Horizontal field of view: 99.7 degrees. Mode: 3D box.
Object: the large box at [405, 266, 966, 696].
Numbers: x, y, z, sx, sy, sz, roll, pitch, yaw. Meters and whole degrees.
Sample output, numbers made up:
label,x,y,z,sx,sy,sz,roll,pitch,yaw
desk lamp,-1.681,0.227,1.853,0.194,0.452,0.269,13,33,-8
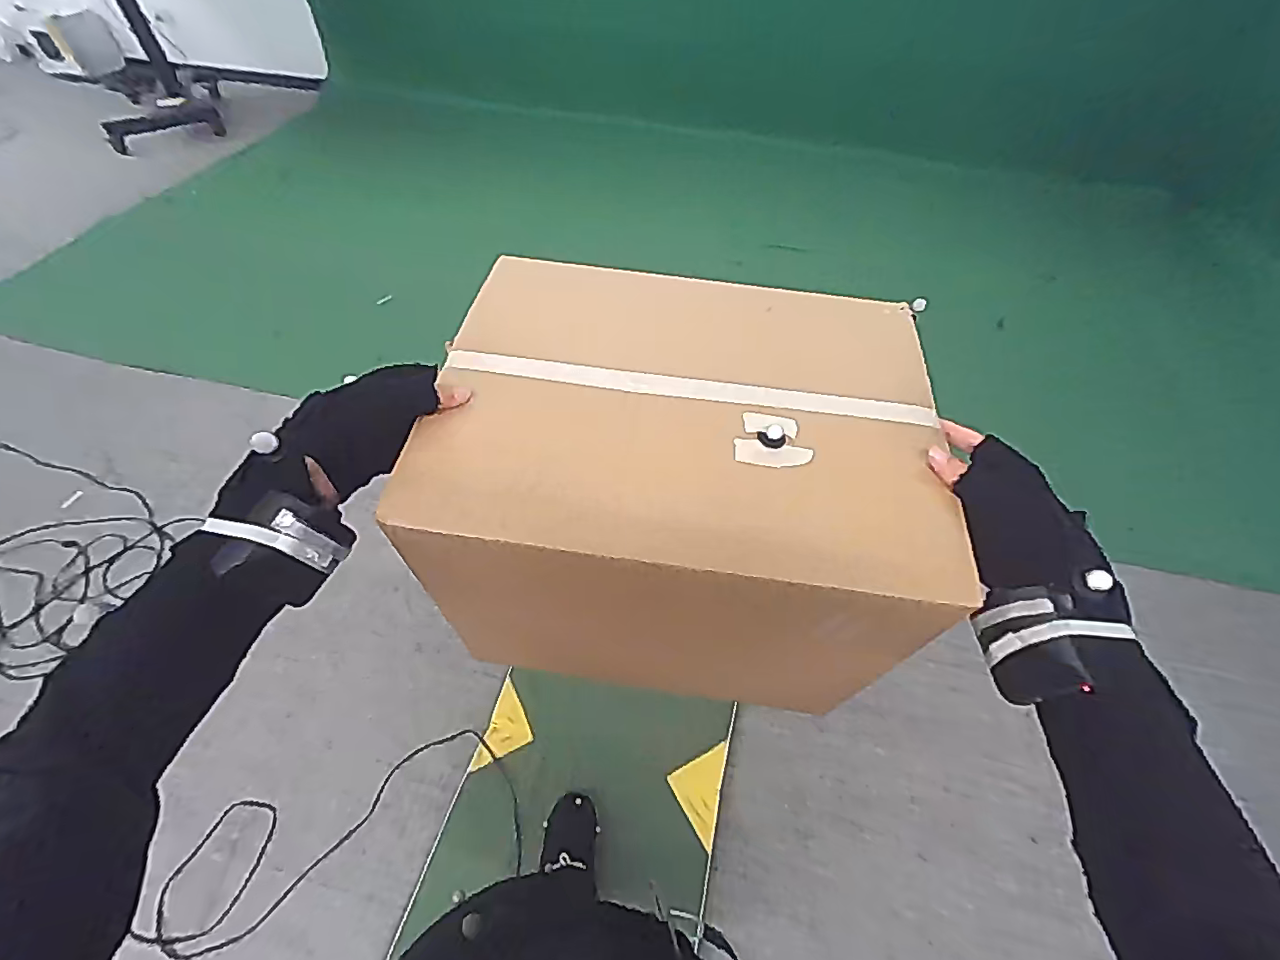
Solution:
label,x,y,z,sx,sy,sz,roll,pitch,yaw
large box,0.036,0.014,0.580,0.408,0.320,0.320,8,55,1
